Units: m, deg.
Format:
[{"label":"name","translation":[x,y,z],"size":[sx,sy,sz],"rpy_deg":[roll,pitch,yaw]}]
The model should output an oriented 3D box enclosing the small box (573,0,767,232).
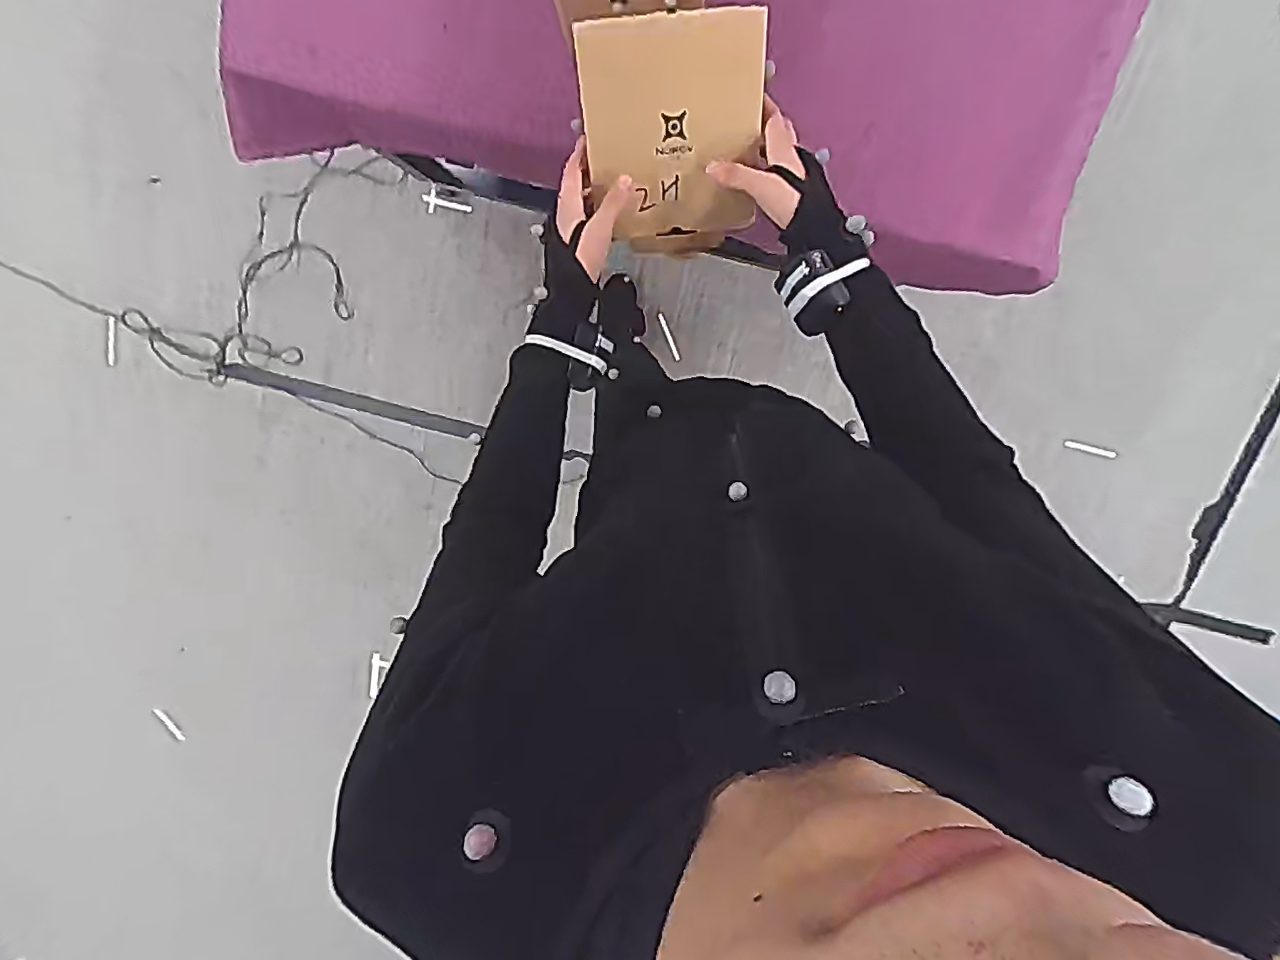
[{"label":"small box","translation":[0.026,-0.374,0.558],"size":[0.168,0.176,0.179],"rpy_deg":[-3,131,2]}]
